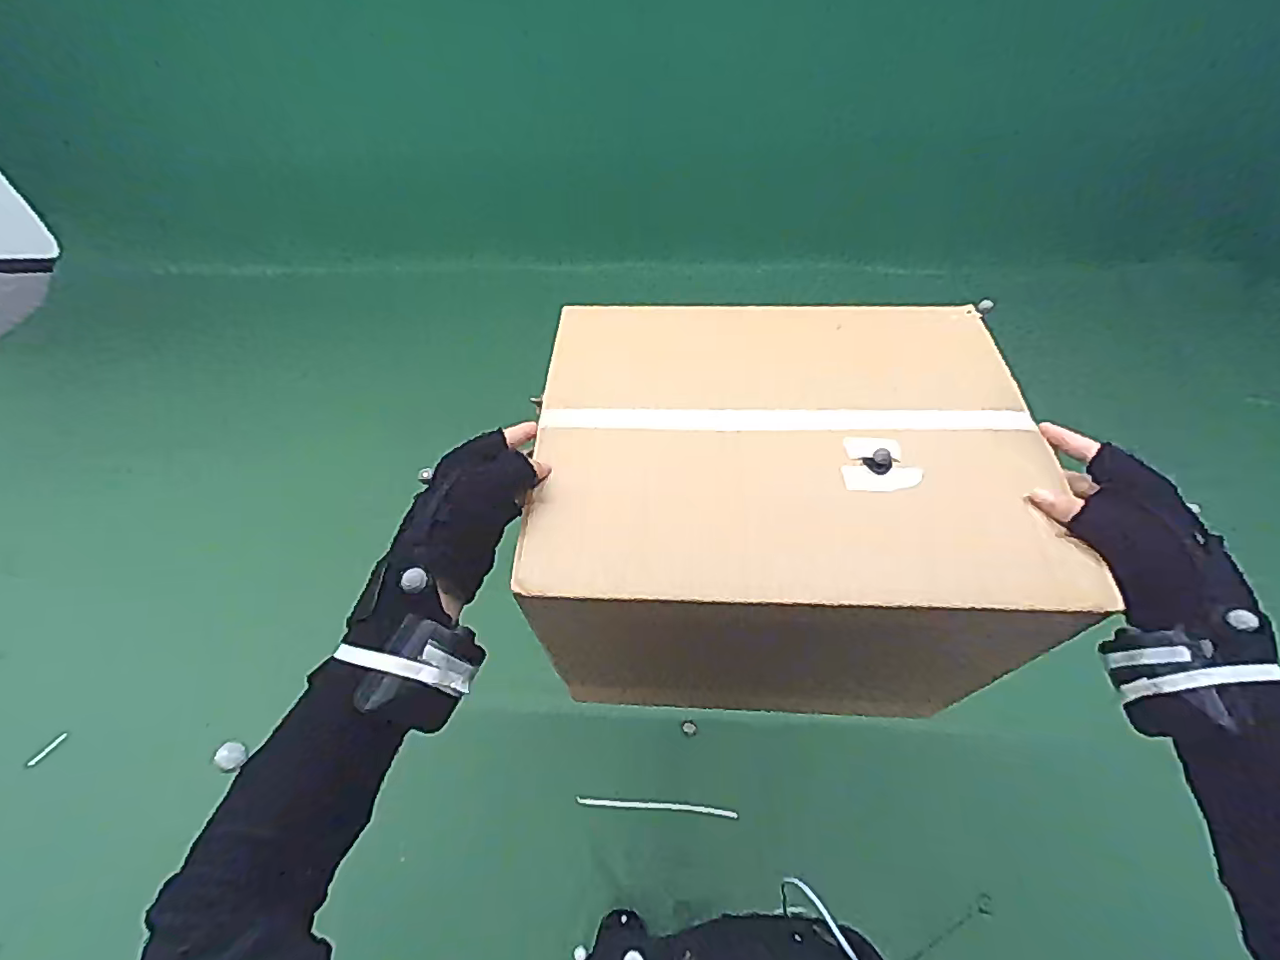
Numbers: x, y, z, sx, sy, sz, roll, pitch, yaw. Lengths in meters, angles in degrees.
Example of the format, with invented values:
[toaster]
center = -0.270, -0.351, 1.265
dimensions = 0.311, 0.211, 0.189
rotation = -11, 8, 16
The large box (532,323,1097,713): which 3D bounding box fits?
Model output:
[large box]
center = 0.124, 0.050, 0.584
dimensions = 0.408, 0.320, 0.320
rotation = 1, 54, 2
